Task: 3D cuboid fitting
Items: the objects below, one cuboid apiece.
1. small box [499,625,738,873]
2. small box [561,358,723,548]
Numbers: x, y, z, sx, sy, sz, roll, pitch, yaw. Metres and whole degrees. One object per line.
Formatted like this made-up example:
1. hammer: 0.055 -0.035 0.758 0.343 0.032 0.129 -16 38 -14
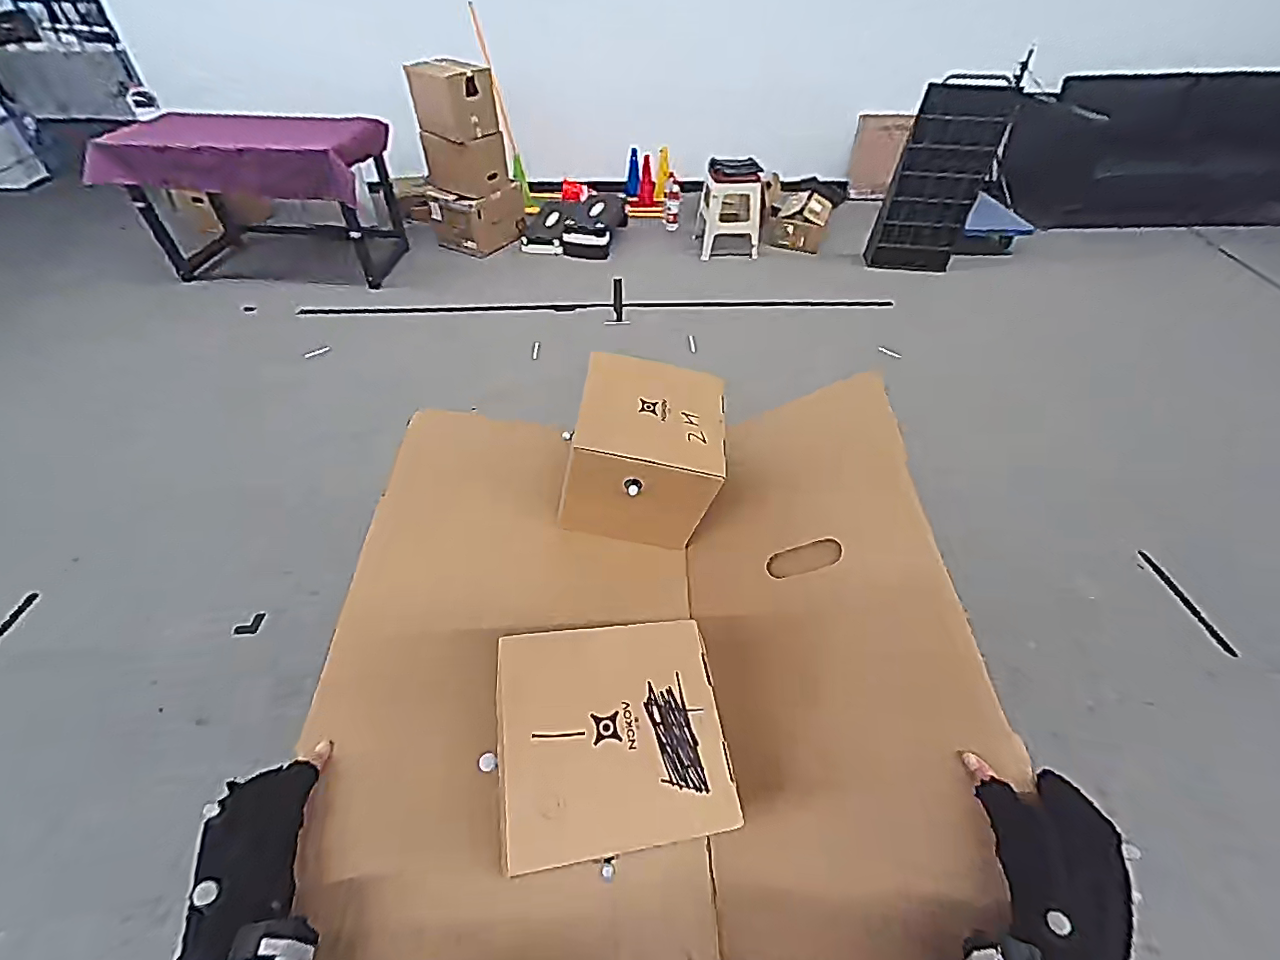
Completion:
1. small box: -0.036 0.246 0.499 0.179 0.176 0.168 -1 55 -16
2. small box: -0.001 -0.029 0.713 0.179 0.176 0.168 12 52 -8
